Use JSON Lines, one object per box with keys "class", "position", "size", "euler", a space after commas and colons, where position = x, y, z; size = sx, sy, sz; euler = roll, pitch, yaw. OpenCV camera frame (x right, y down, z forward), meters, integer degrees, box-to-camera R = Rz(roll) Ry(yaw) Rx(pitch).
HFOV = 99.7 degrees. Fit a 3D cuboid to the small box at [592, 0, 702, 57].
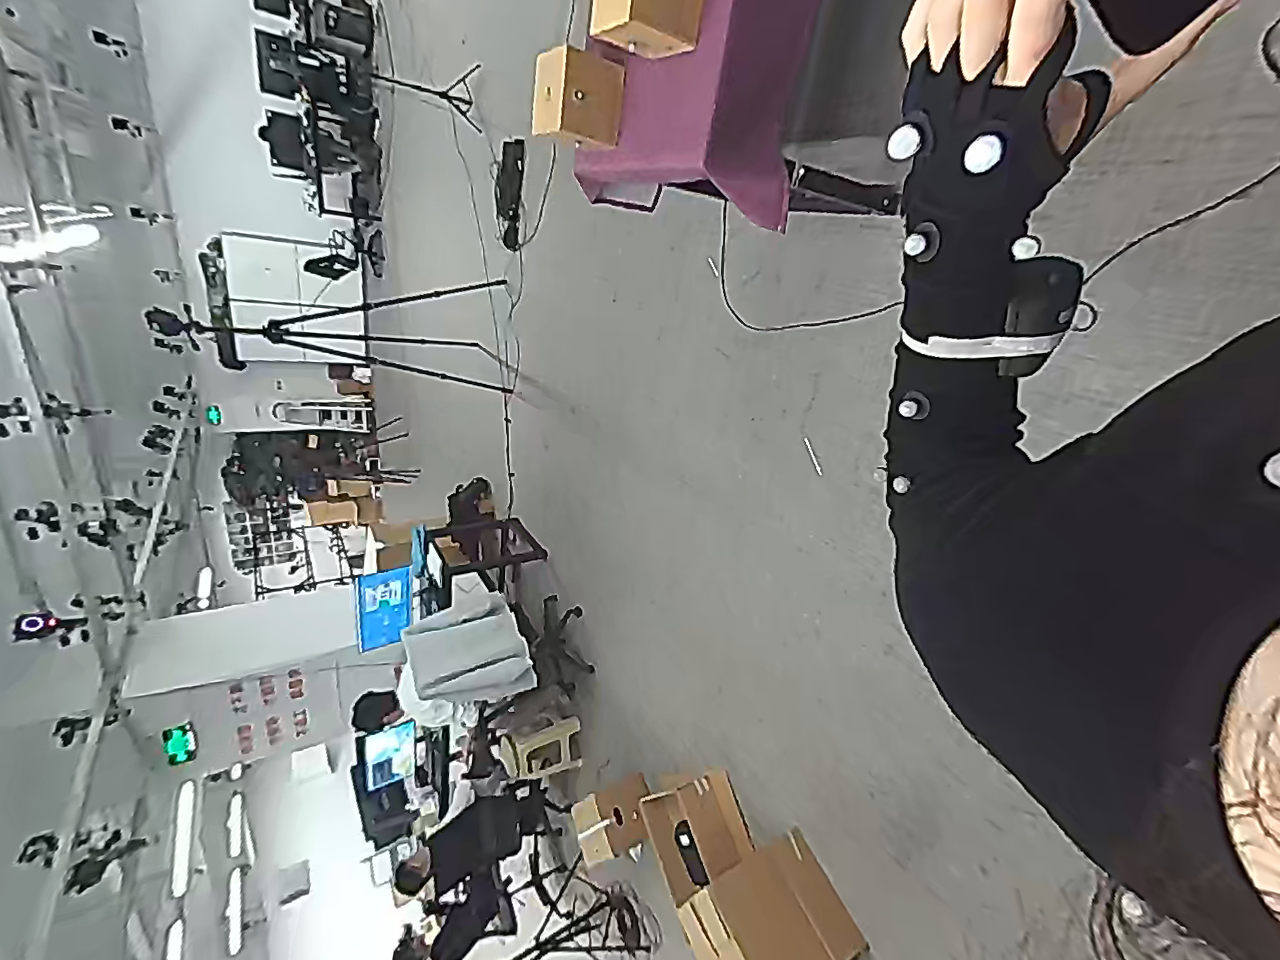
{"class": "small box", "position": [0.022, -0.995, 1.101], "size": [0.168, 0.176, 0.179], "euler": [39, 125, 46]}
